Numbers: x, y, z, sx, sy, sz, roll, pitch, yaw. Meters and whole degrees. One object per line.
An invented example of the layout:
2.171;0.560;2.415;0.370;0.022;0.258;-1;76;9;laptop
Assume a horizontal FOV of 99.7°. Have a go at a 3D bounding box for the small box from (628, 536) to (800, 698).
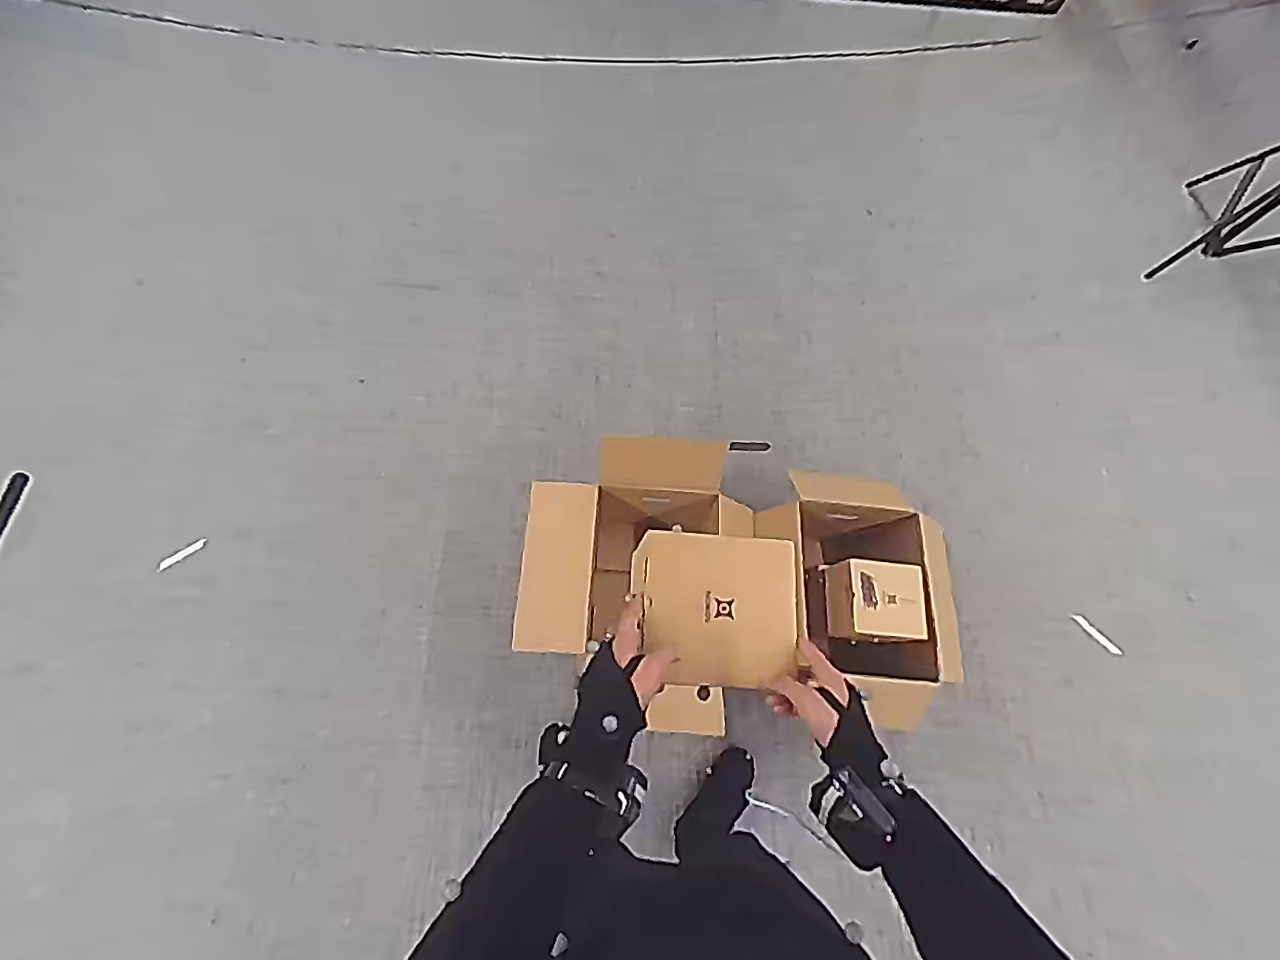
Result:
0.082;0.168;0.668;0.179;0.176;0.168;4;74;-4;small box
